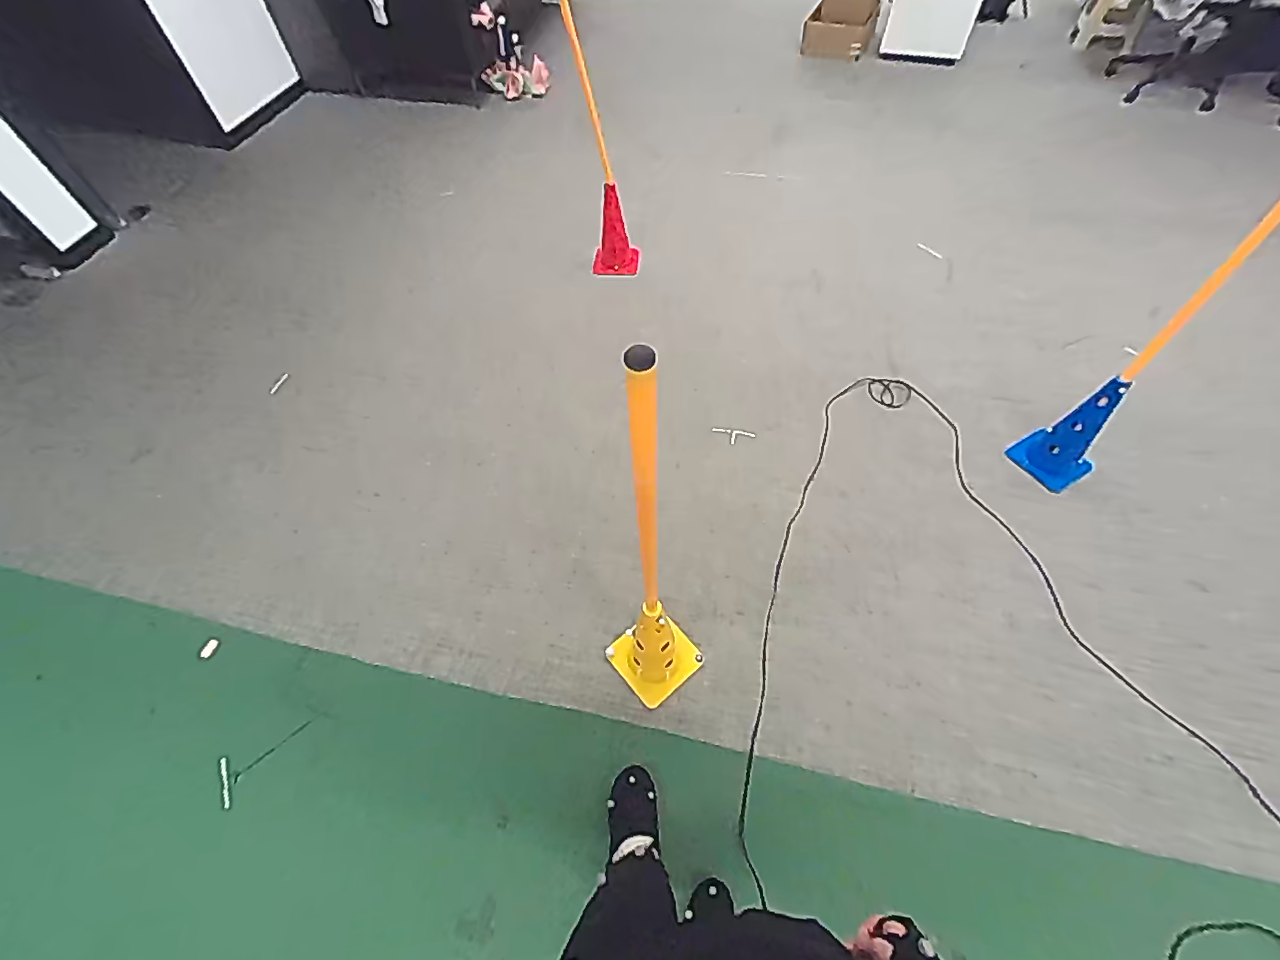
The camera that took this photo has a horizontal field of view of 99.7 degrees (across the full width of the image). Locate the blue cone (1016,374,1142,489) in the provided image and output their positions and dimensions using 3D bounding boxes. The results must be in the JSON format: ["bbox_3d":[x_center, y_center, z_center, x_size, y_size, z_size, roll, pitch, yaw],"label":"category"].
[{"bbox_3d":[1.334,-0.169,1.614,0.193,0.380,0.192,-27,58,-18],"label":"blue cone"}]
